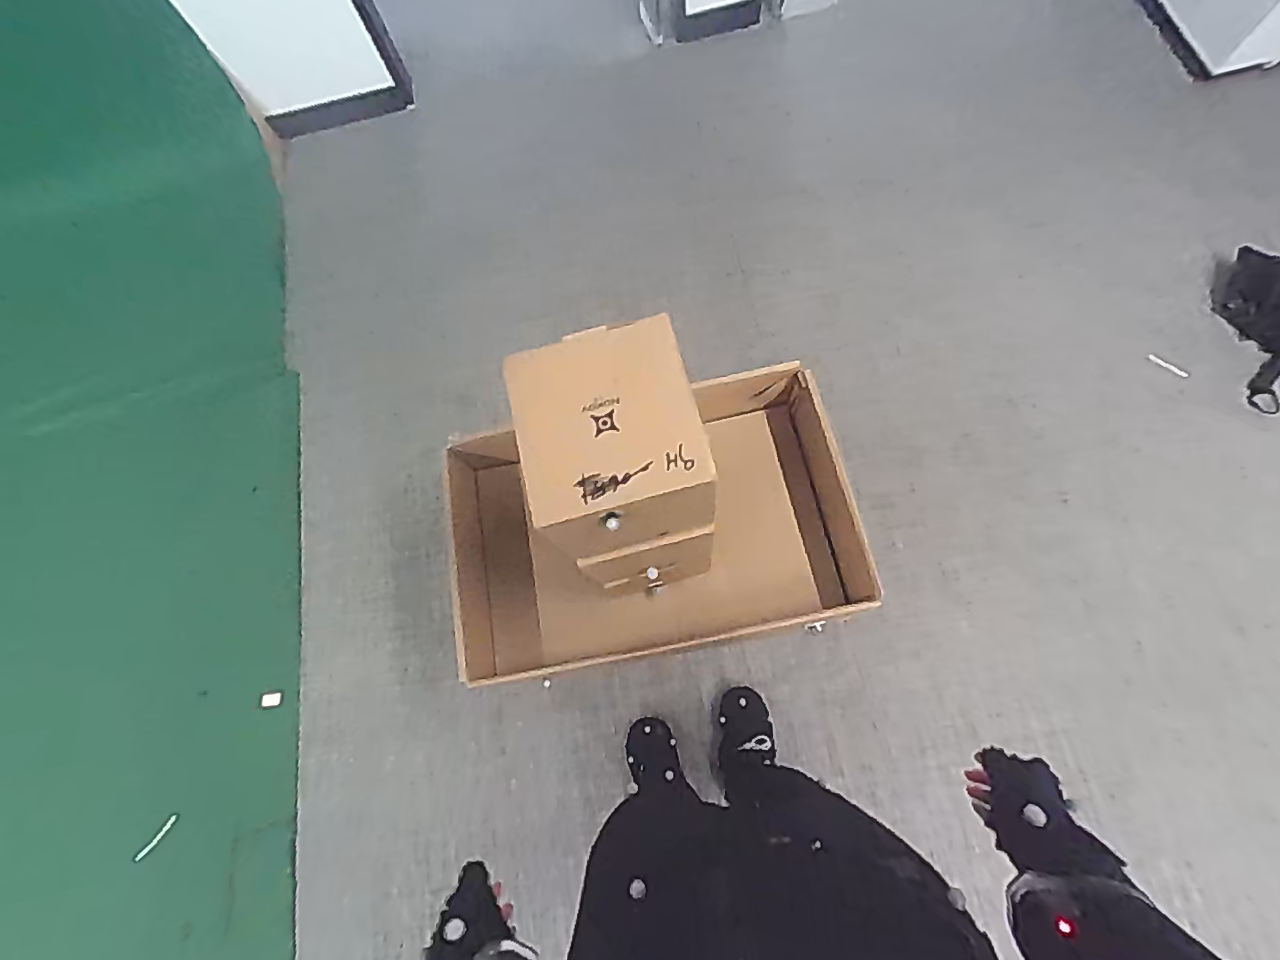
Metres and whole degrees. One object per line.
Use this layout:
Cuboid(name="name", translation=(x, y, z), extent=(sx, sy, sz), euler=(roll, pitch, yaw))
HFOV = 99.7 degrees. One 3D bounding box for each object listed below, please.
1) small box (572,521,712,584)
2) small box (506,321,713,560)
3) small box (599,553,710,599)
Cuboid(name="small box", translation=(-0.006, 0.028, 0.721), extent=(0.168, 0.176, 0.179), euler=(-15, 72, 2))
Cuboid(name="small box", translation=(-0.026, -0.030, 0.570), extent=(0.168, 0.176, 0.179), euler=(-15, 70, 2))
Cuboid(name="small box", translation=(0.008, 0.081, 0.875), extent=(0.168, 0.176, 0.179), euler=(-17, 72, 1))
